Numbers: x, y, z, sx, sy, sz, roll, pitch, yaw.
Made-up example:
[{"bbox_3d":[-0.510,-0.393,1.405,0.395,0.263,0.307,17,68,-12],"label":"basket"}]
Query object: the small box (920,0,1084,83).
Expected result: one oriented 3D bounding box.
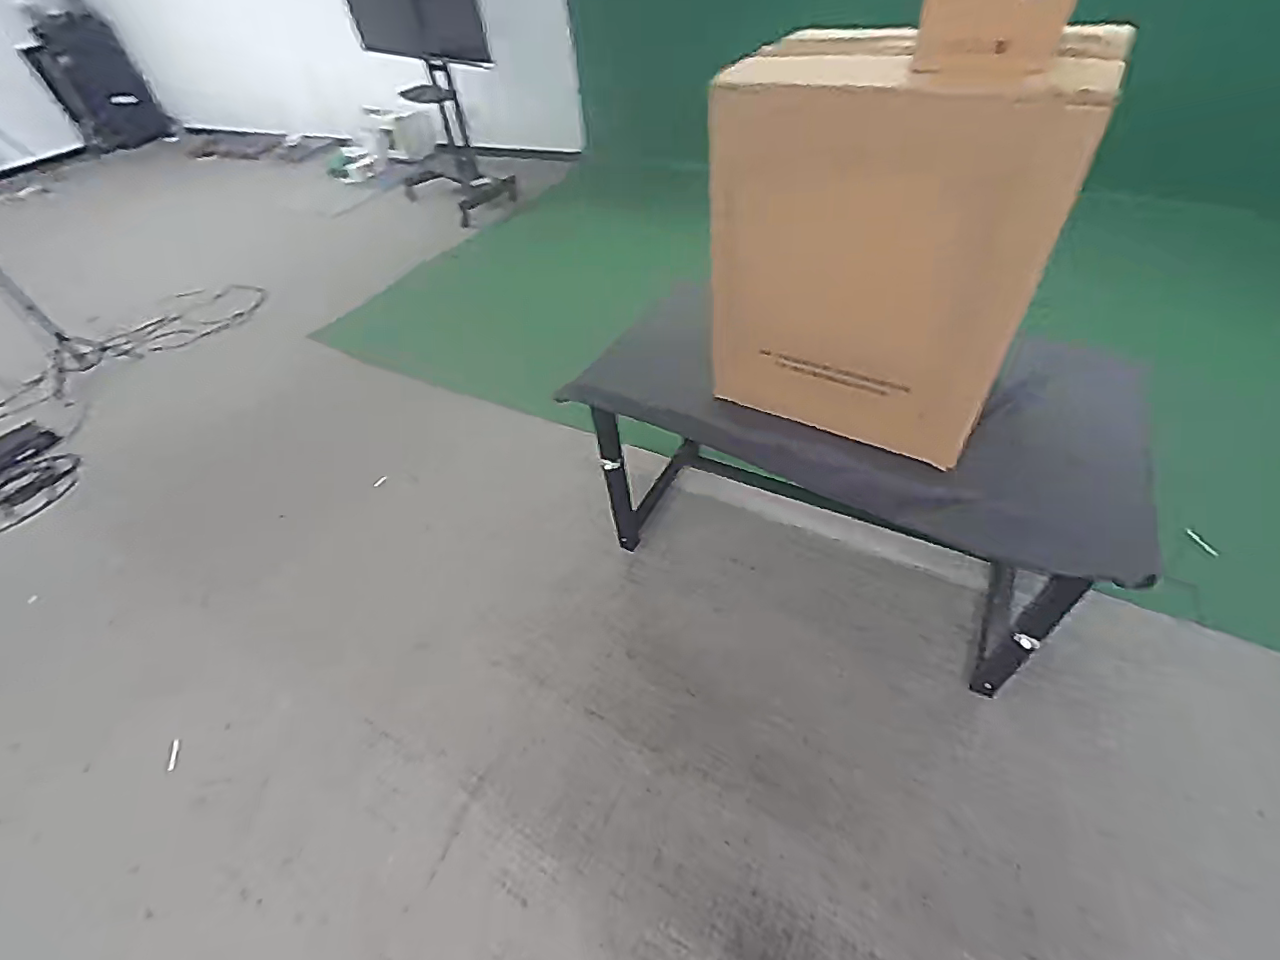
[{"bbox_3d":[0.483,-0.638,0.699,0.168,0.176,0.179,20,54,20],"label":"small box"}]
